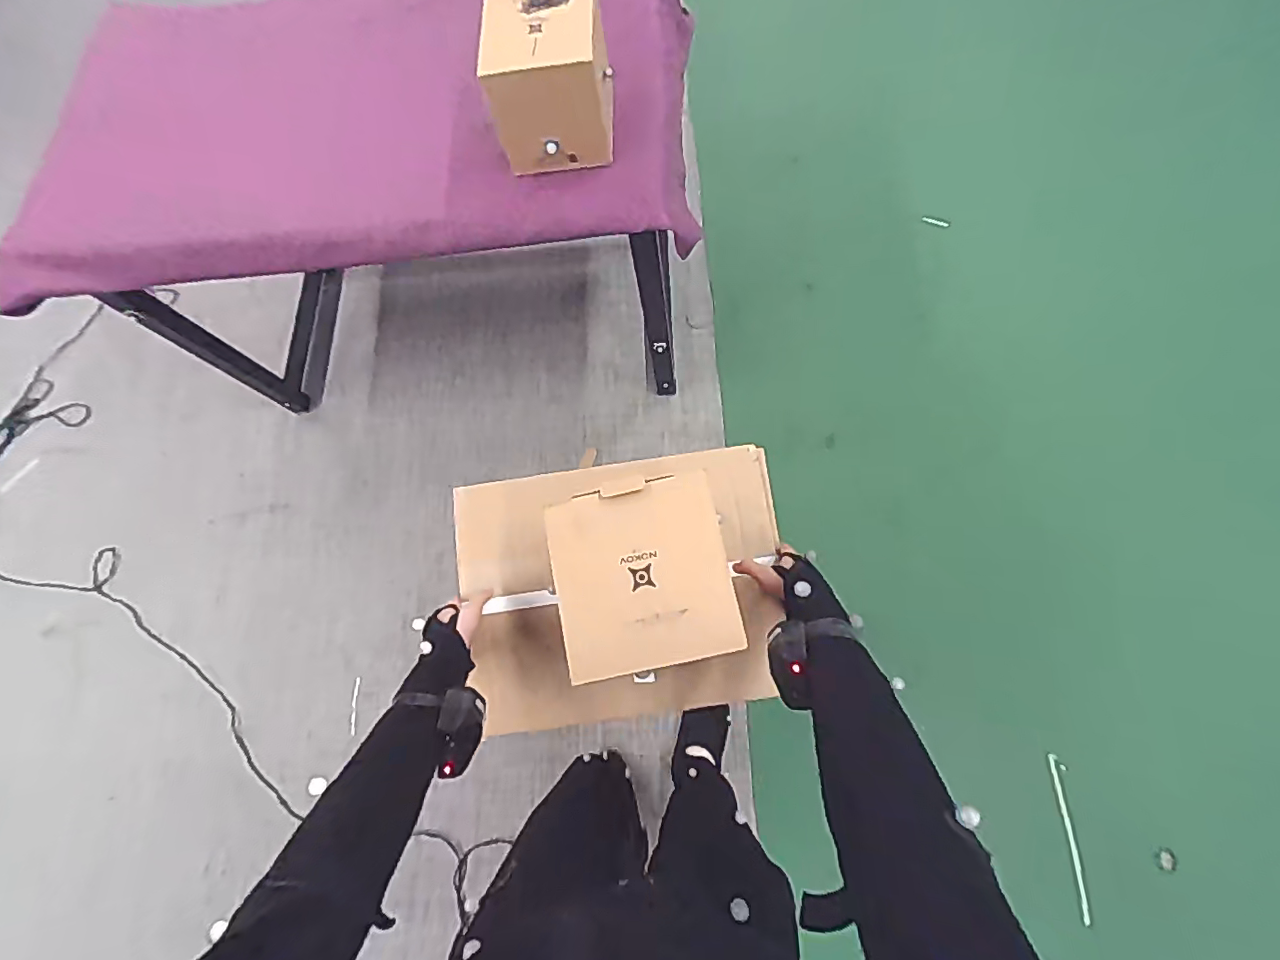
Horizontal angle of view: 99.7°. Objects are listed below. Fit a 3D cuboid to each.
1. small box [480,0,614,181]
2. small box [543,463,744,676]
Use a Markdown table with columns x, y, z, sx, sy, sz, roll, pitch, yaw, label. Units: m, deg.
| x | y | z | sx | sy | sz | roll | pitch | yaw | label |
| --- | --- | --- | --- | --- | --- | --- | --- | --- | --- |
| -0.135 | -0.611 | 0.853 | 0.168 | 0.176 | 0.179 | -3 | 71 | 6 | small box |
| 0.003 | 0.098 | 0.586 | 0.168 | 0.176 | 0.179 | -12 | 78 | 0 | small box |
